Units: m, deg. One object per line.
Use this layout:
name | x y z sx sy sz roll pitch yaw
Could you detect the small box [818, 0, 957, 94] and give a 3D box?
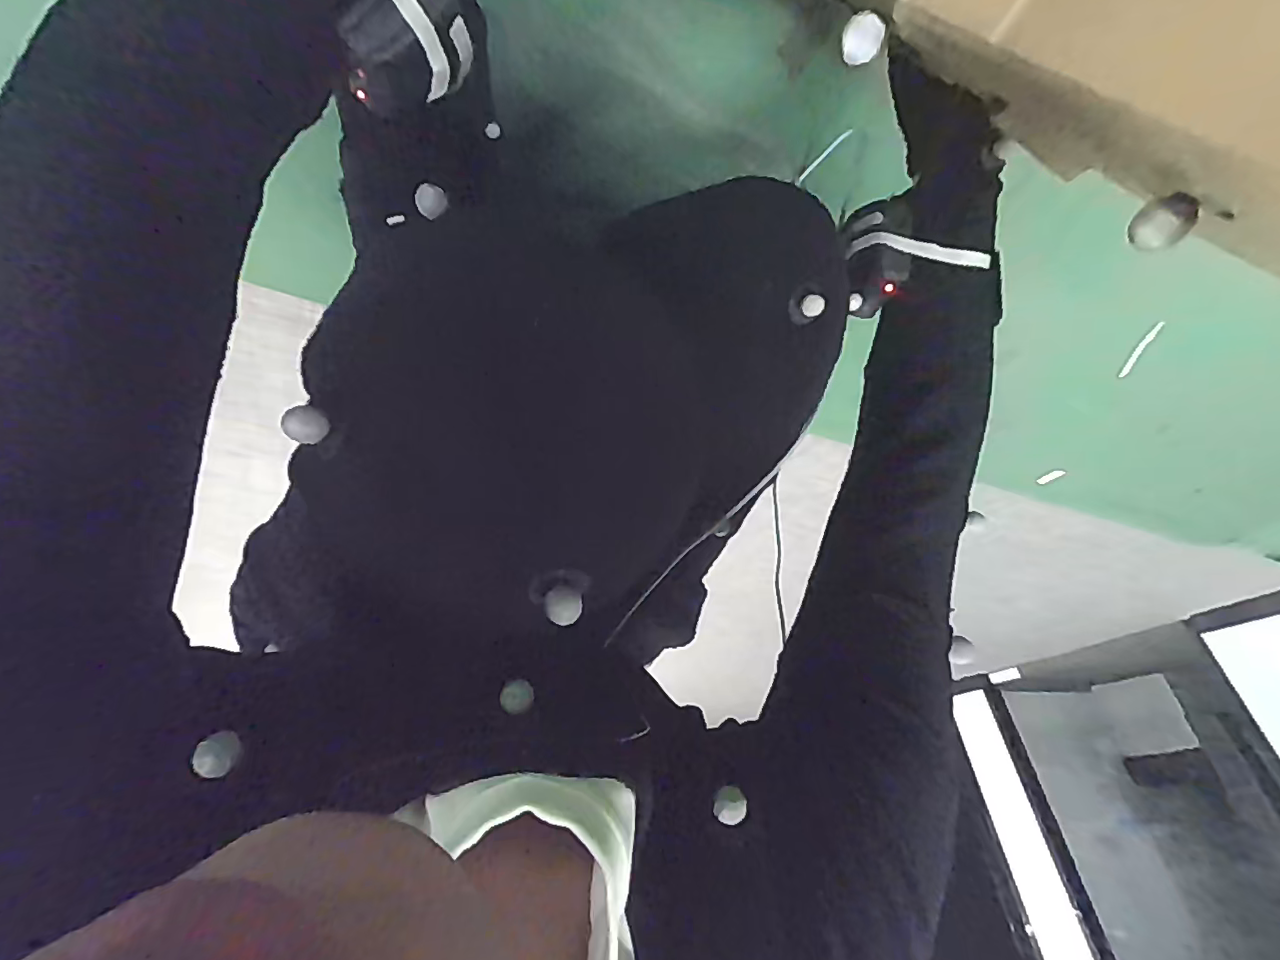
small box | 0.138 -0.349 0.269 0.168 0.176 0.179 12 137 -24
